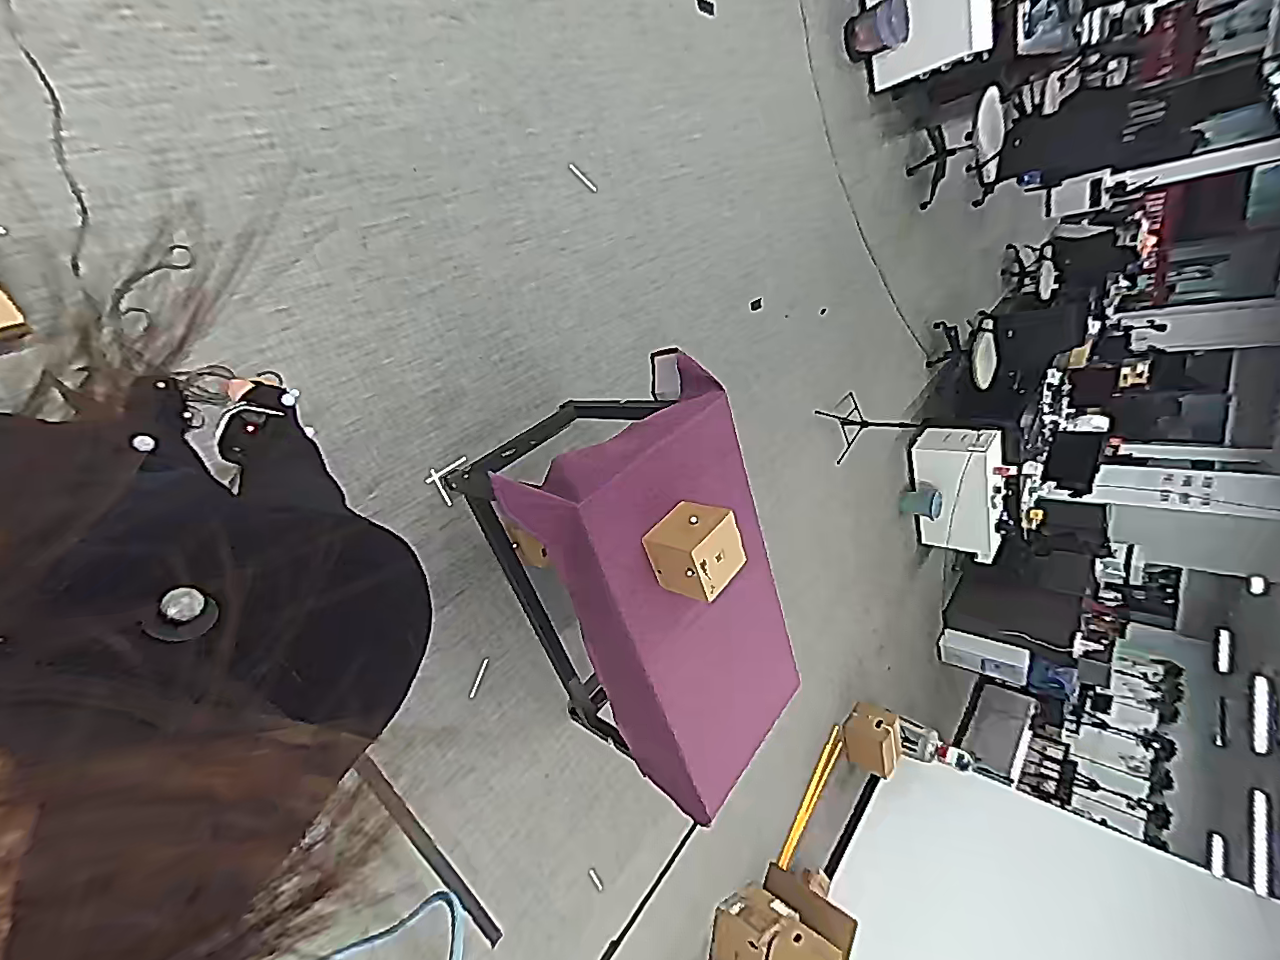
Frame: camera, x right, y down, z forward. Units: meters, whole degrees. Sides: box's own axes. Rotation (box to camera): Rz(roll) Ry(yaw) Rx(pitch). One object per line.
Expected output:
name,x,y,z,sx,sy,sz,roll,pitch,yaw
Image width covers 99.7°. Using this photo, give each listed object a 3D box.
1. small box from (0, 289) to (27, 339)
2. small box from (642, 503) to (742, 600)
small box,-1.258,-0.331,0.958,0.168,0.176,0.179,-37,120,-35
small box,0.134,0.175,1.392,0.179,0.176,0.168,-41,122,-34
